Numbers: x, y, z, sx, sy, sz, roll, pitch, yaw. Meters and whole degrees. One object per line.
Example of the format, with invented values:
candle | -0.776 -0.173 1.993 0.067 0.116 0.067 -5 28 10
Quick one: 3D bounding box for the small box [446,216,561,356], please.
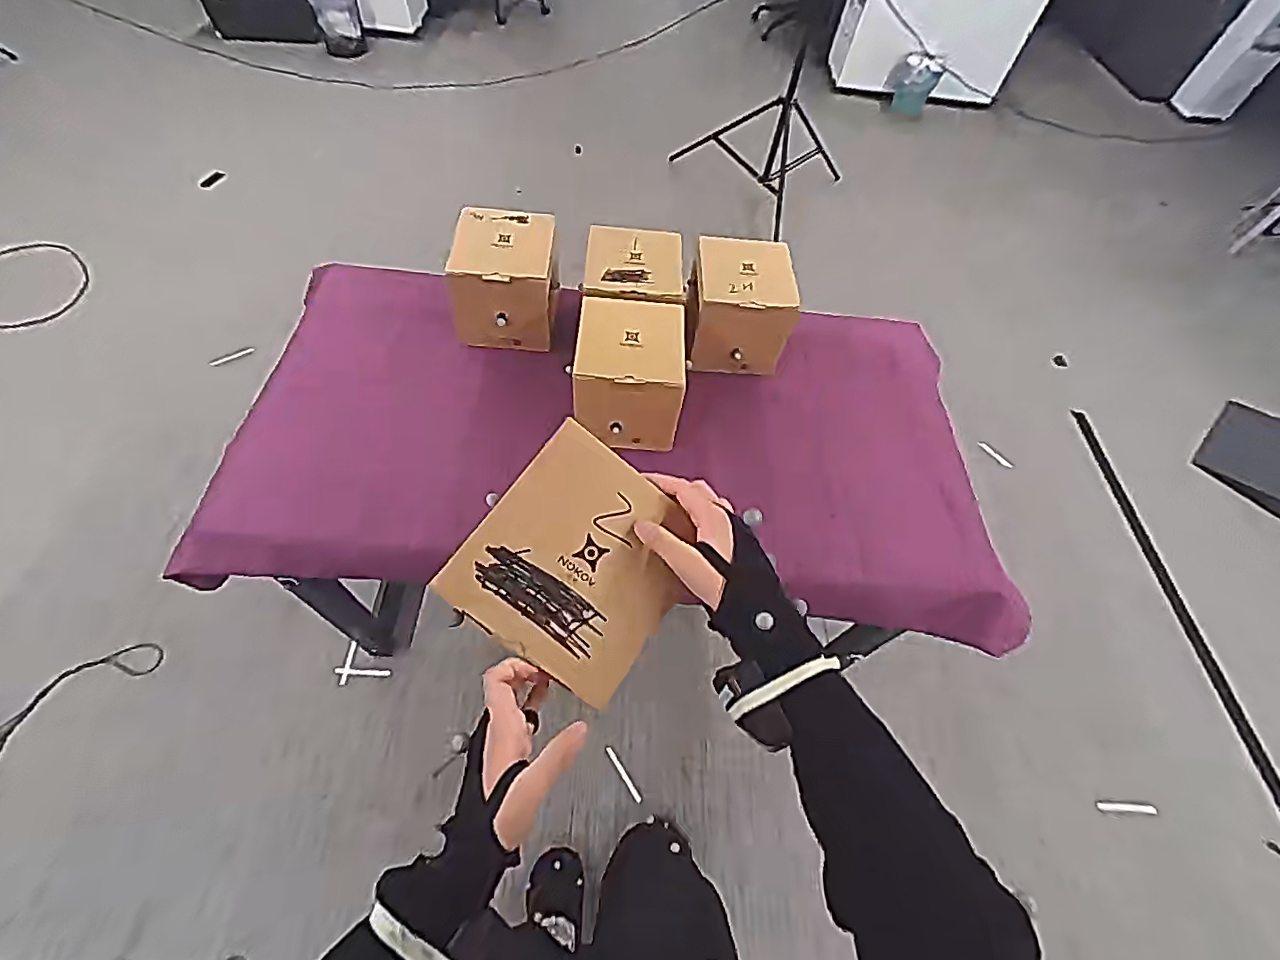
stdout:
small box | -0.236 -0.348 0.986 0.168 0.176 0.179 4 60 -4
